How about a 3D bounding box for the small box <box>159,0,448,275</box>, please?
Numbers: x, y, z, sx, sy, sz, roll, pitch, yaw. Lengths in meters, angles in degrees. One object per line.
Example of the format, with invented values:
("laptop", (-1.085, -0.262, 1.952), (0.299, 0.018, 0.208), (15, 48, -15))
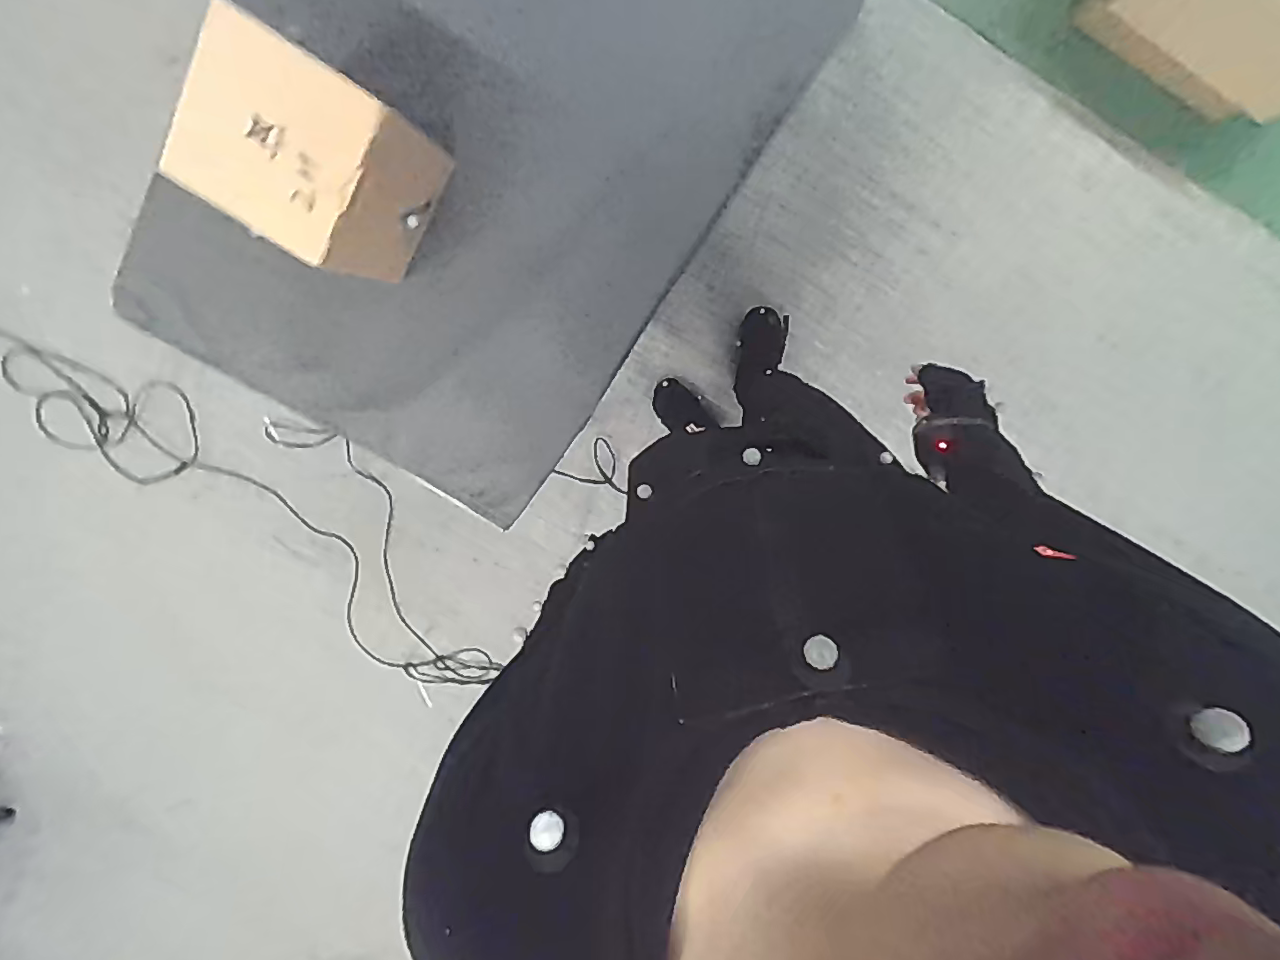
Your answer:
("small box", (-0.345, -0.342, 0.586), (0.179, 0.176, 0.168), (31, 105, -5))
